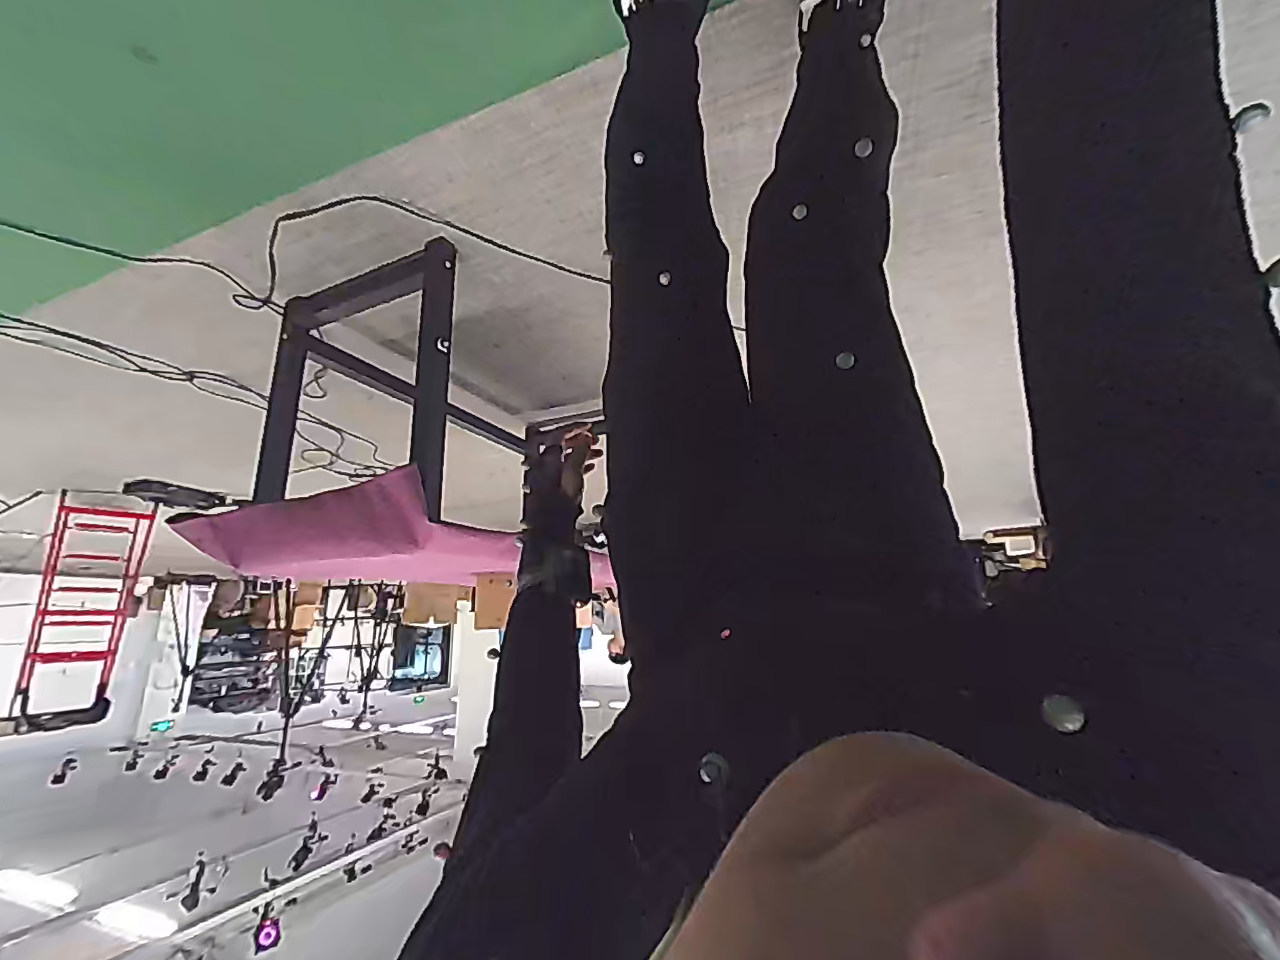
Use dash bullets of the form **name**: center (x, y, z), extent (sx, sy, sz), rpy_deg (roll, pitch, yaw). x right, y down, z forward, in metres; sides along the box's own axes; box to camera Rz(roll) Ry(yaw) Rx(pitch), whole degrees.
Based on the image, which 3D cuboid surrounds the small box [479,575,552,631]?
- **small box**: center (-0.397, 0.395, 1.739), extent (0.168, 0.176, 0.179), rpy_deg (-8, 165, 24)

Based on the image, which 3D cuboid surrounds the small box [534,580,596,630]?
- **small box**: center (-0.279, 0.462, 1.997), extent (0.179, 0.176, 0.168), rpy_deg (-9, 163, 24)
